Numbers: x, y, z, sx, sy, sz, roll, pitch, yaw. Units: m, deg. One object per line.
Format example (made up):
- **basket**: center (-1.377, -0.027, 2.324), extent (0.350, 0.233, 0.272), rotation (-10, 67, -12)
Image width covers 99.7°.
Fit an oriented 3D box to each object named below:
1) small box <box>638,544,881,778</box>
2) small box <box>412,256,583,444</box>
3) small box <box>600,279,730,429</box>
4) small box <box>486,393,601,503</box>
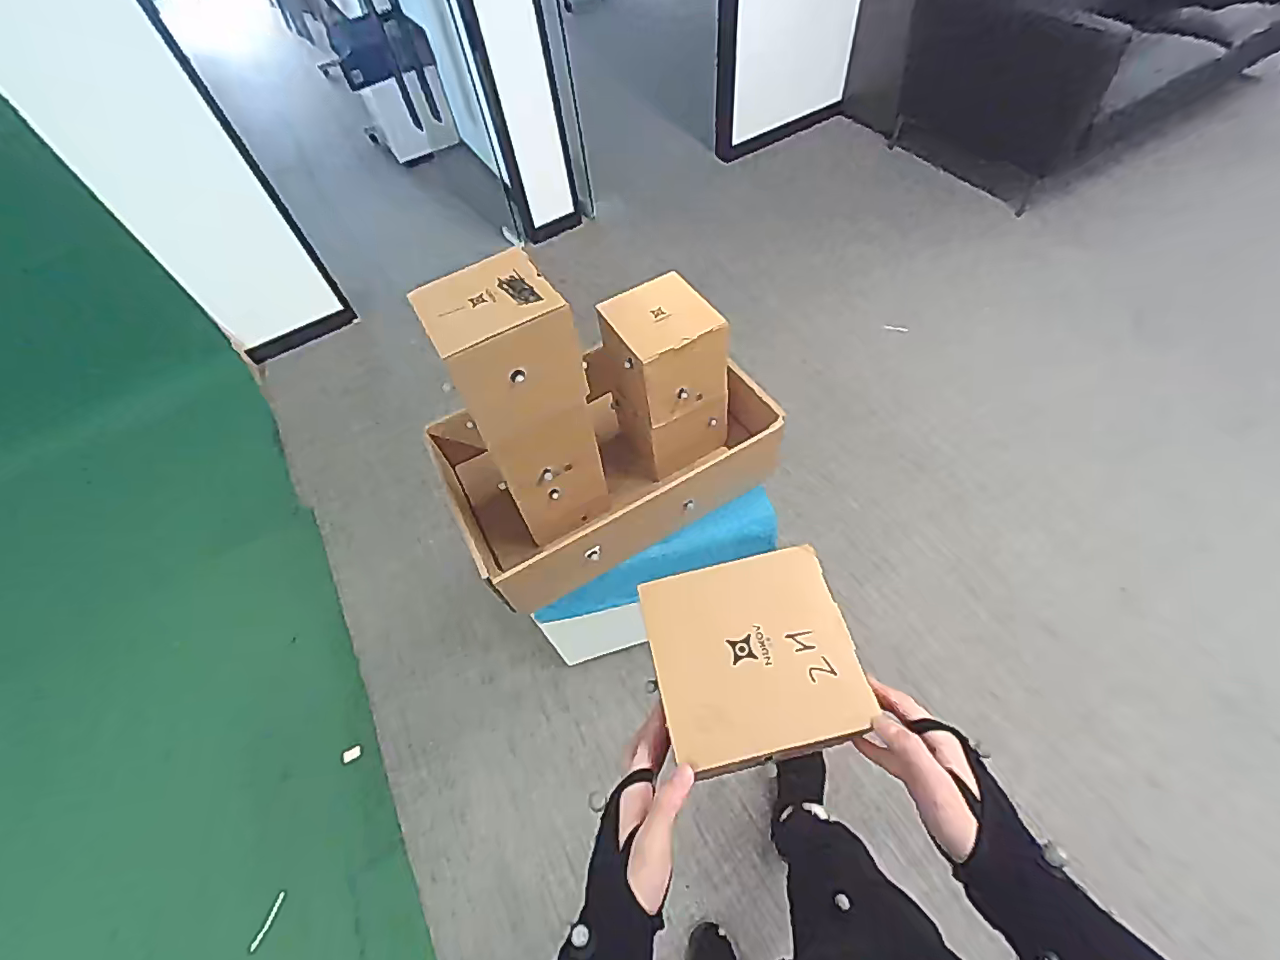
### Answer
- **small box**: center (0.105, 0.188, 0.543), extent (0.179, 0.176, 0.168), rotation (-12, 58, -2)
- **small box**: center (-0.195, -0.186, 0.787), extent (0.179, 0.176, 0.168), rotation (-28, 56, -12)
- **small box**: center (0.046, -0.225, 0.982), extent (0.168, 0.176, 0.179), rotation (-27, 56, -11)
- **small box**: center (-0.183, -0.094, 0.922), extent (0.168, 0.176, 0.179), rotation (-27, 56, -12)
